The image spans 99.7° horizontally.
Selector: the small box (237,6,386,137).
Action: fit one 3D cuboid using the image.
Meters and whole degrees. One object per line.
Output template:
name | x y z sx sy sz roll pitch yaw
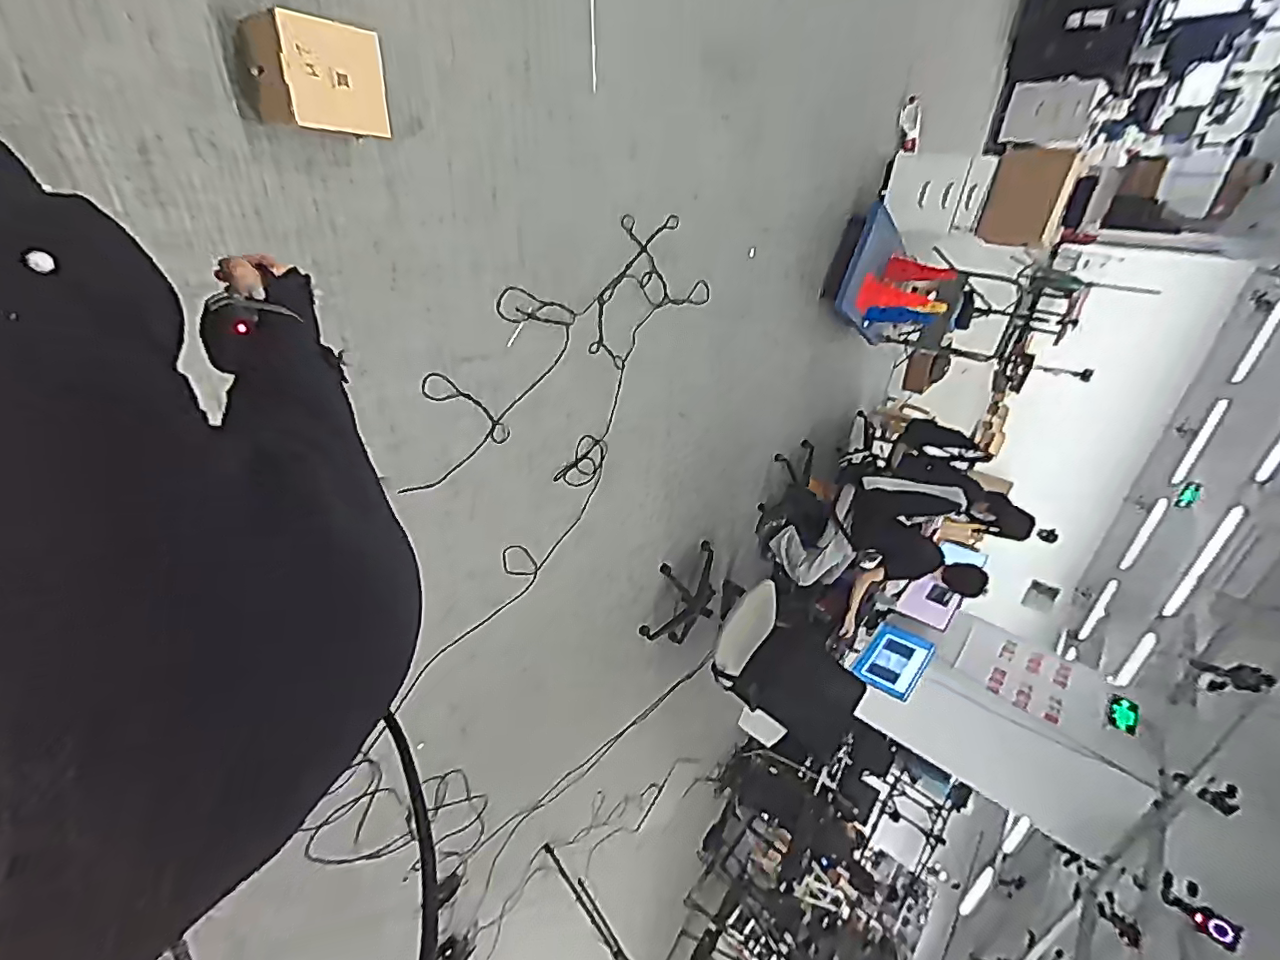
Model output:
small box | -0.611 -0.751 1.014 0.179 0.176 0.168 -25 129 -43
